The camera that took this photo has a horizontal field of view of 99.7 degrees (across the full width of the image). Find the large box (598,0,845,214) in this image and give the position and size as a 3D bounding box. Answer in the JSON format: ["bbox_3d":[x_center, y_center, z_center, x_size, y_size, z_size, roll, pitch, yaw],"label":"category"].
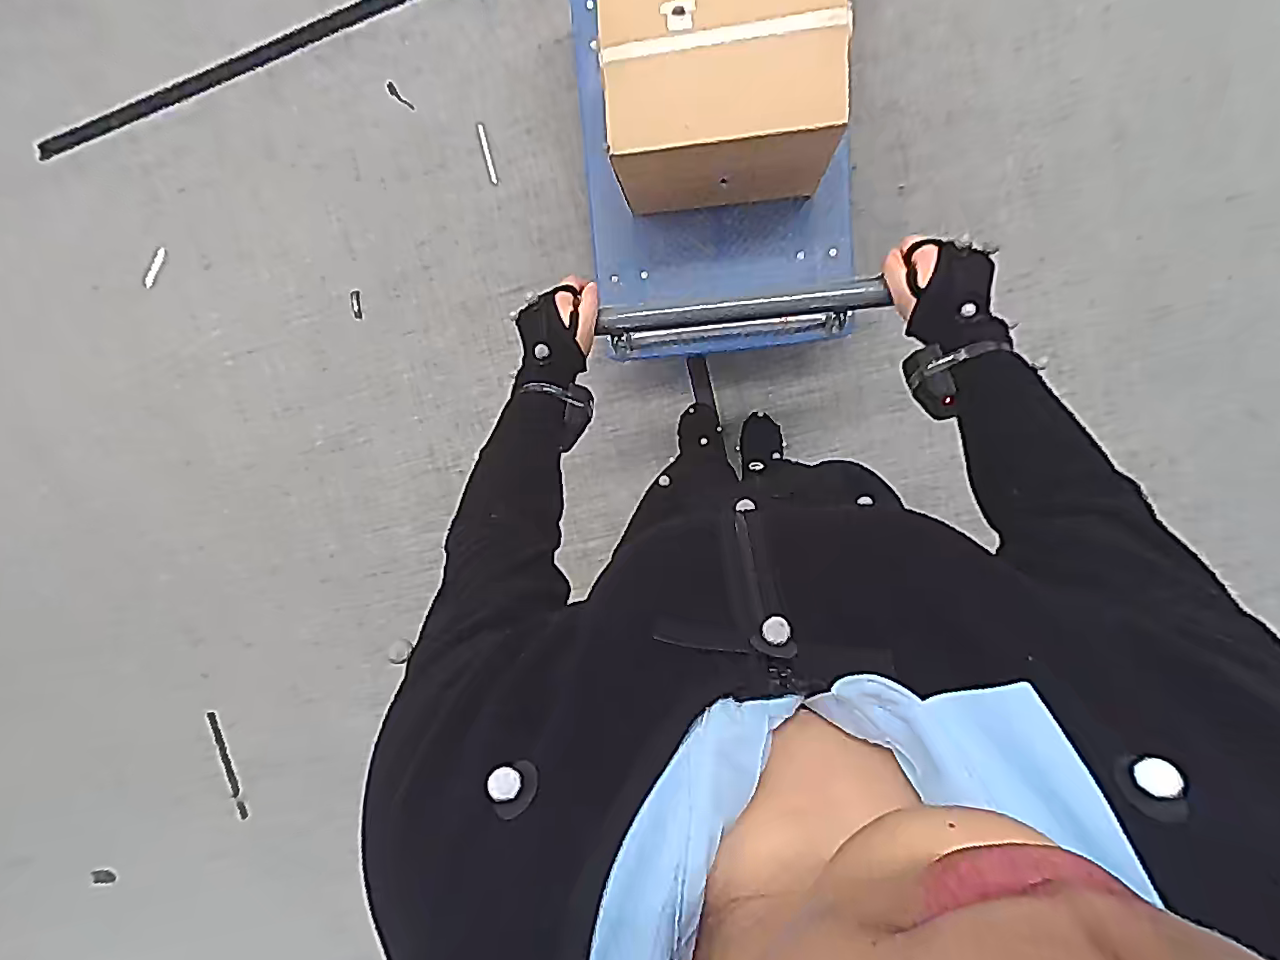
[{"bbox_3d":[0.156,-0.752,1.055,0.408,0.320,0.320,-3,96,9],"label":"large box"}]
